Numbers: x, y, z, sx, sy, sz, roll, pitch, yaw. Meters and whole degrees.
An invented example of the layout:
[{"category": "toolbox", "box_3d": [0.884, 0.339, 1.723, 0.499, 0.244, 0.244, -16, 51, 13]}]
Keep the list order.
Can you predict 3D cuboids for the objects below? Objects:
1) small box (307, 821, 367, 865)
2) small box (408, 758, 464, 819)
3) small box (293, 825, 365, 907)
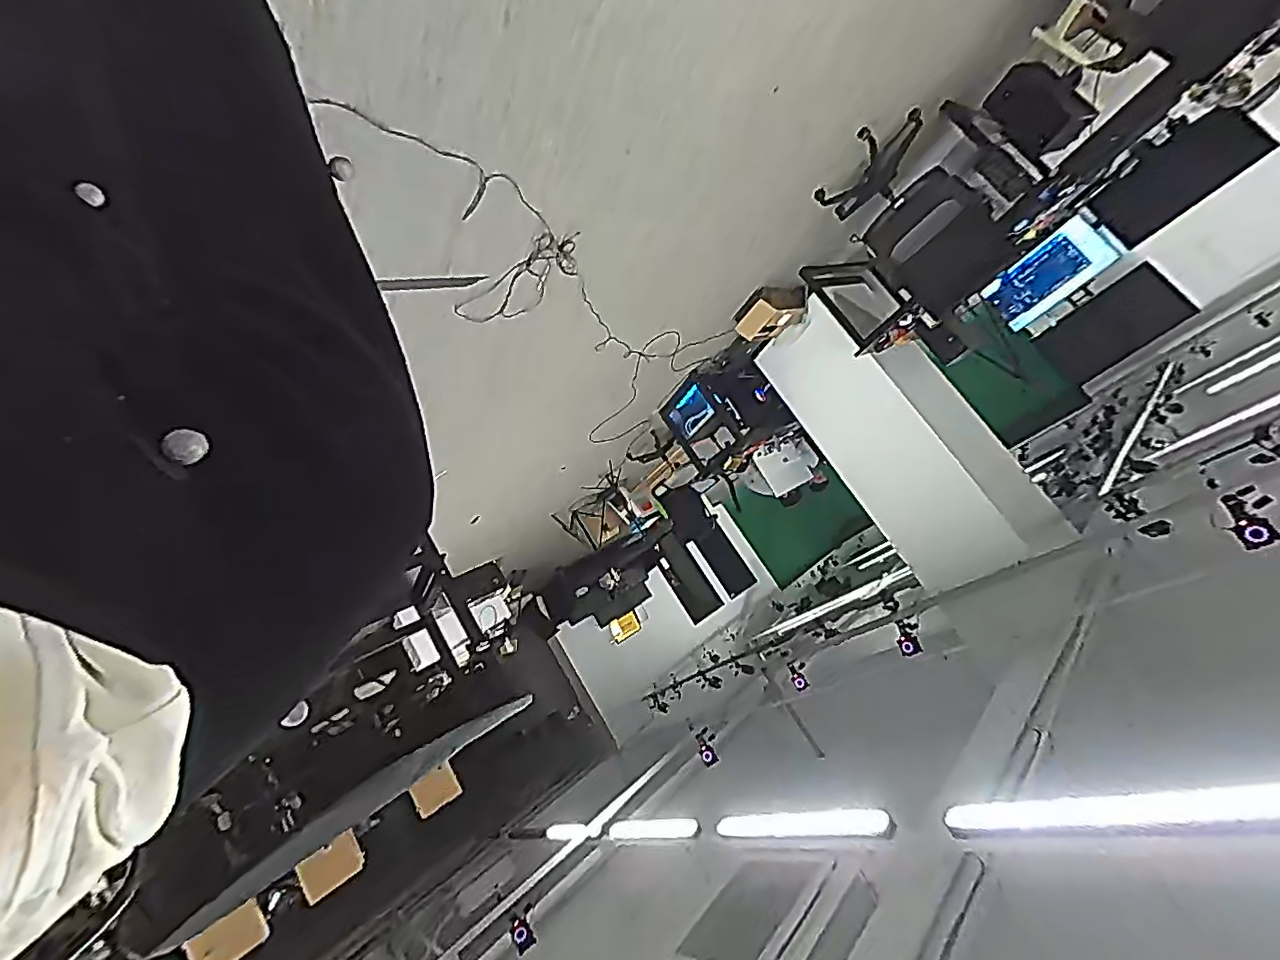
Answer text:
[{"category": "small box", "box_3d": [-1.177, 1.449, 2.074, 0.179, 0.176, 0.168, -22, 163, -39]}, {"category": "small box", "box_3d": [-0.881, 1.323, 2.325, 0.168, 0.176, 0.179, -23, 164, -36]}, {"category": "small box", "box_3d": [-1.085, 1.336, 1.882, 0.168, 0.176, 0.179, -23, 164, -41]}]
